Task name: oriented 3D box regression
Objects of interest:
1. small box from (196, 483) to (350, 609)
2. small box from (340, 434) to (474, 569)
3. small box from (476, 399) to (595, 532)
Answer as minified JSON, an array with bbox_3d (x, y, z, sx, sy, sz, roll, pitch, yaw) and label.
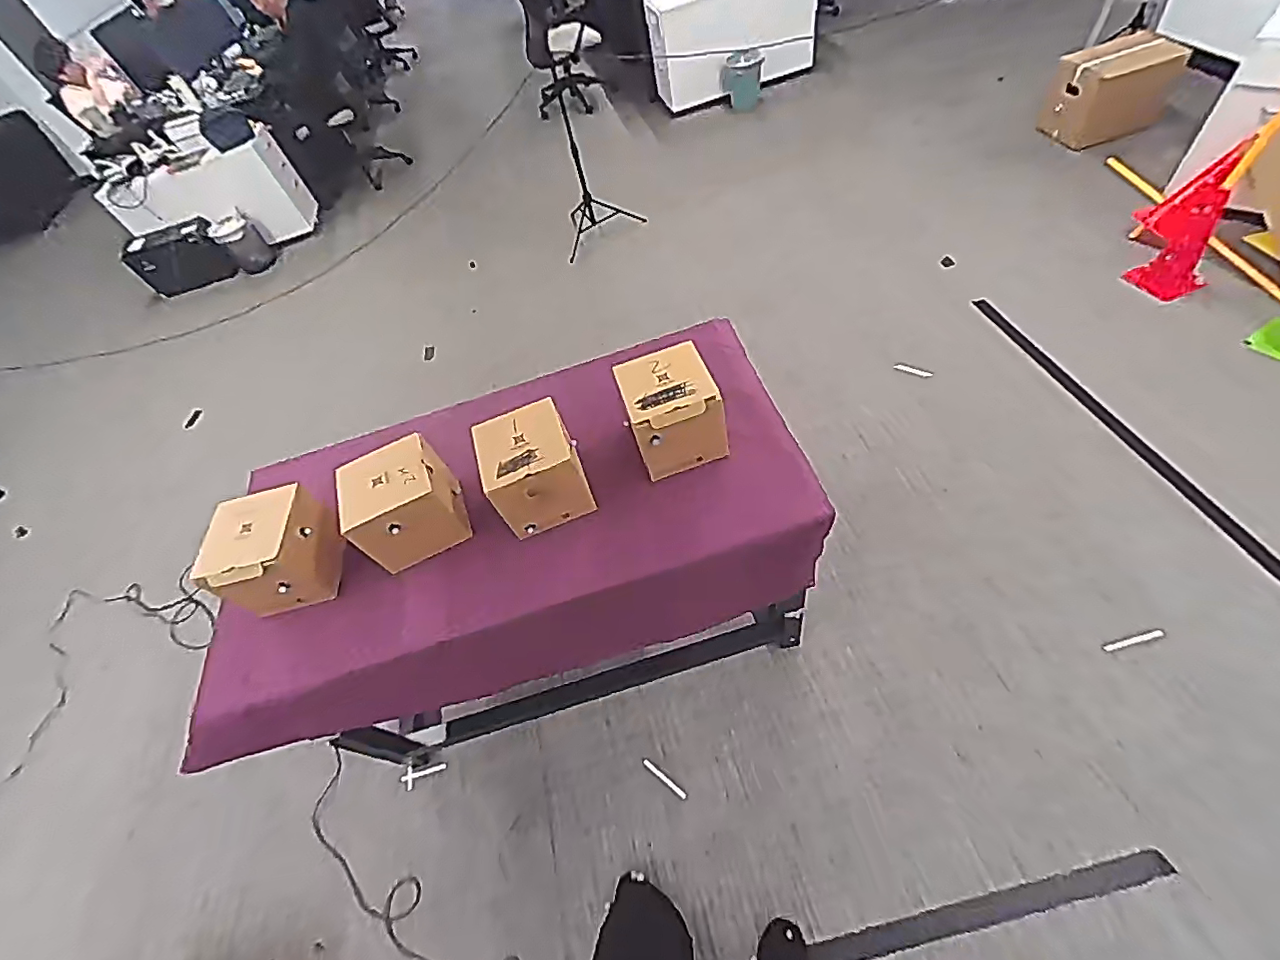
[{"bbox_3d":[-0.700,0.137,1.058,0.168,0.176,0.179,-13,52,3],"label":"small box"},{"bbox_3d":[-0.455,0.048,1.063,0.179,0.176,0.168,-24,53,-6],"label":"small box"},{"bbox_3d":[-0.198,-0.019,1.051,0.168,0.176,0.179,-21,51,-3],"label":"small box"}]
